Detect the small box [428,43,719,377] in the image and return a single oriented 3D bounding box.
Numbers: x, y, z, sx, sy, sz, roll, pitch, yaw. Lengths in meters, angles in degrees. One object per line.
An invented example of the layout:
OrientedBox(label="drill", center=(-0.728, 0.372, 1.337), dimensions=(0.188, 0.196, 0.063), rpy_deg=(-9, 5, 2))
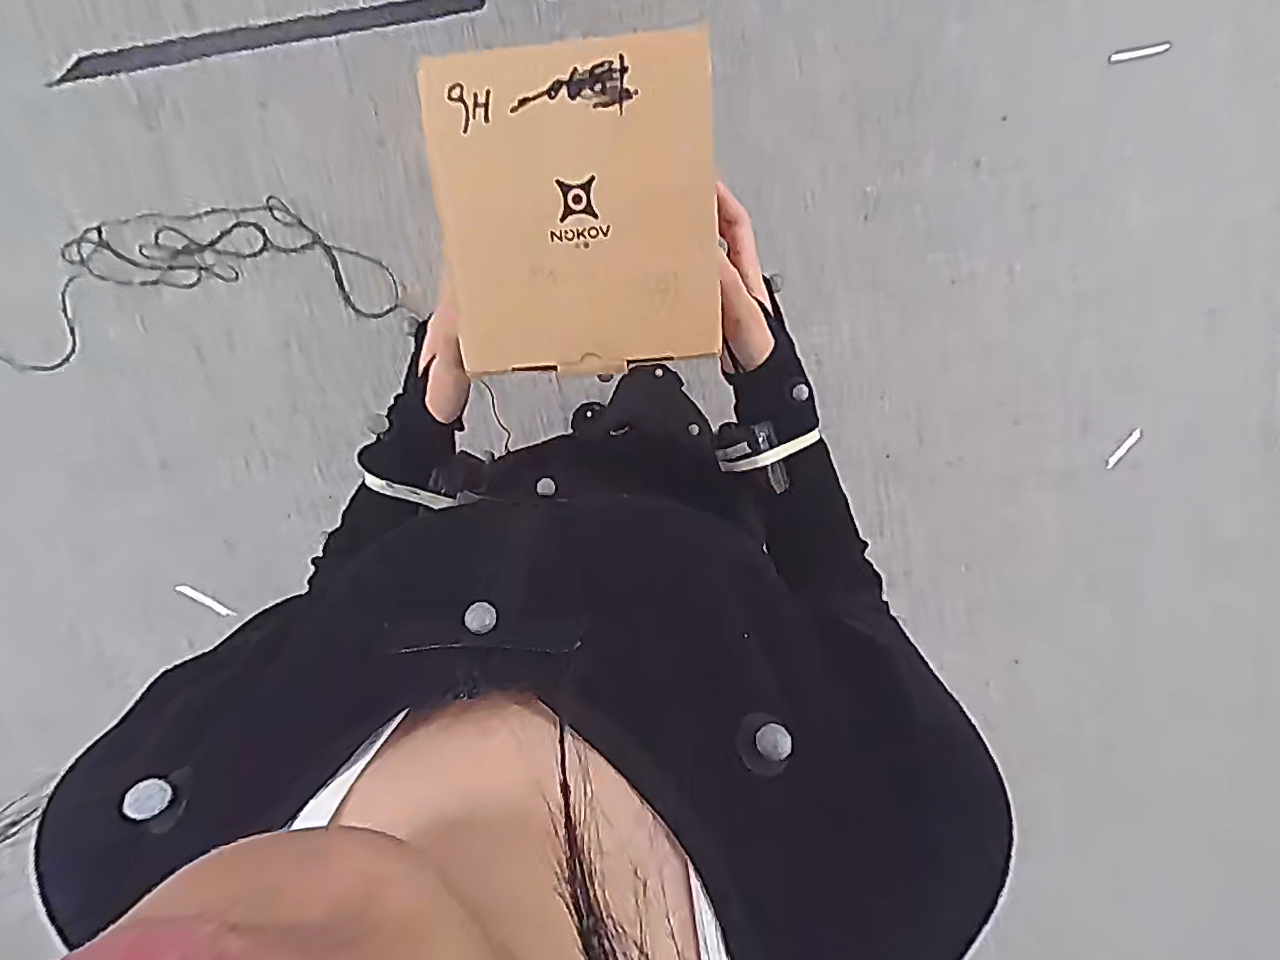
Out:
OrientedBox(label="small box", center=(-0.033, -0.177, 0.402), dimensions=(0.168, 0.176, 0.179), rpy_deg=(-4, 106, 2))
